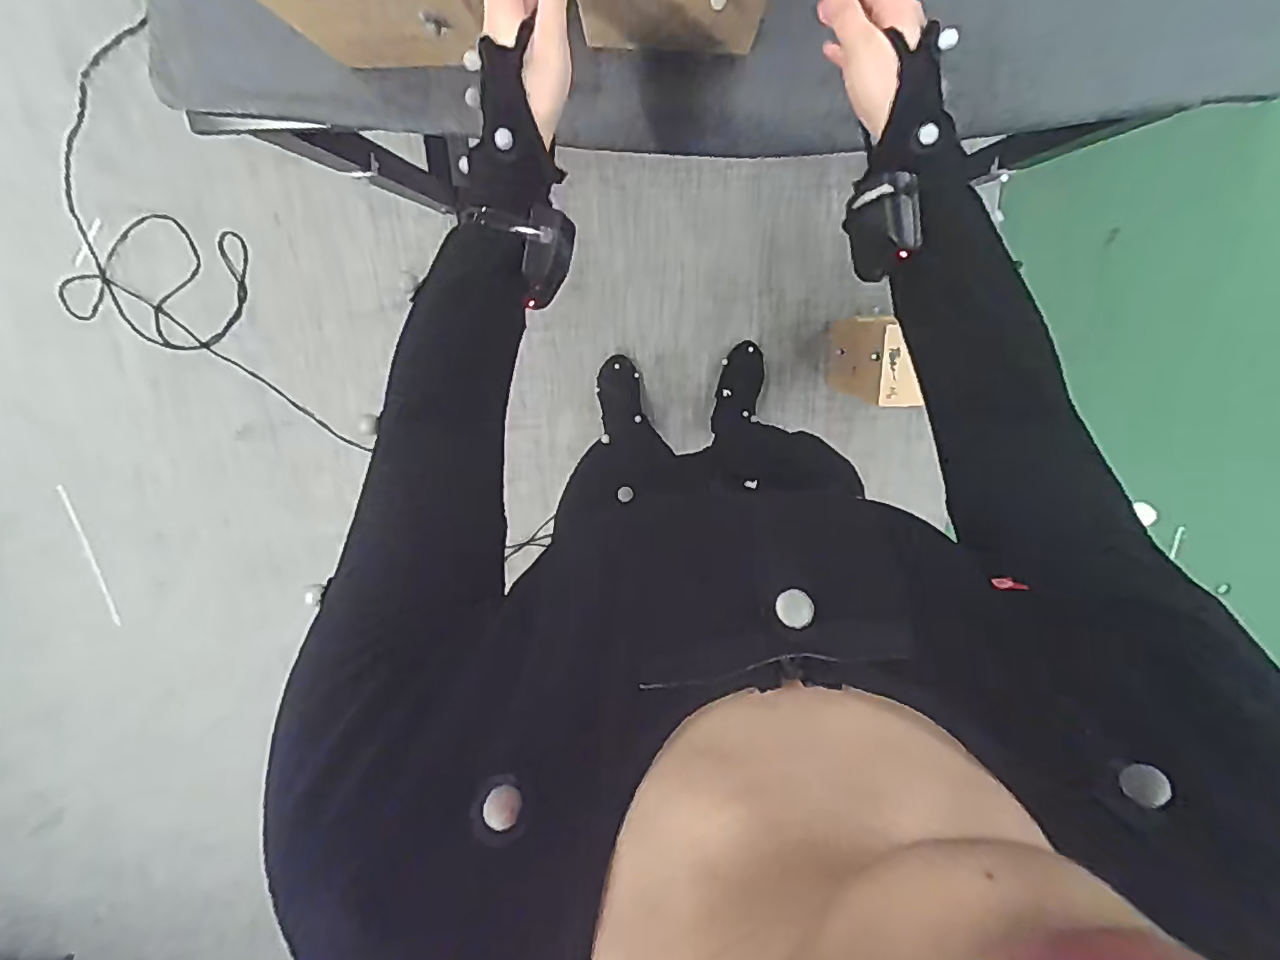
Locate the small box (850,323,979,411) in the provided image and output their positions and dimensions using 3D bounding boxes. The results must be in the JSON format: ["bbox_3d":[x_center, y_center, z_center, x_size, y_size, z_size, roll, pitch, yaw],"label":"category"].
[{"bbox_3d":[0.569,-0.243,1.144,0.179,0.176,0.168,0,109,1],"label":"small box"}]

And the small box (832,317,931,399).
[{"bbox_3d":[0.570,-0.297,1.300,0.168,0.176,0.179,-3,107,2],"label":"small box"}]
